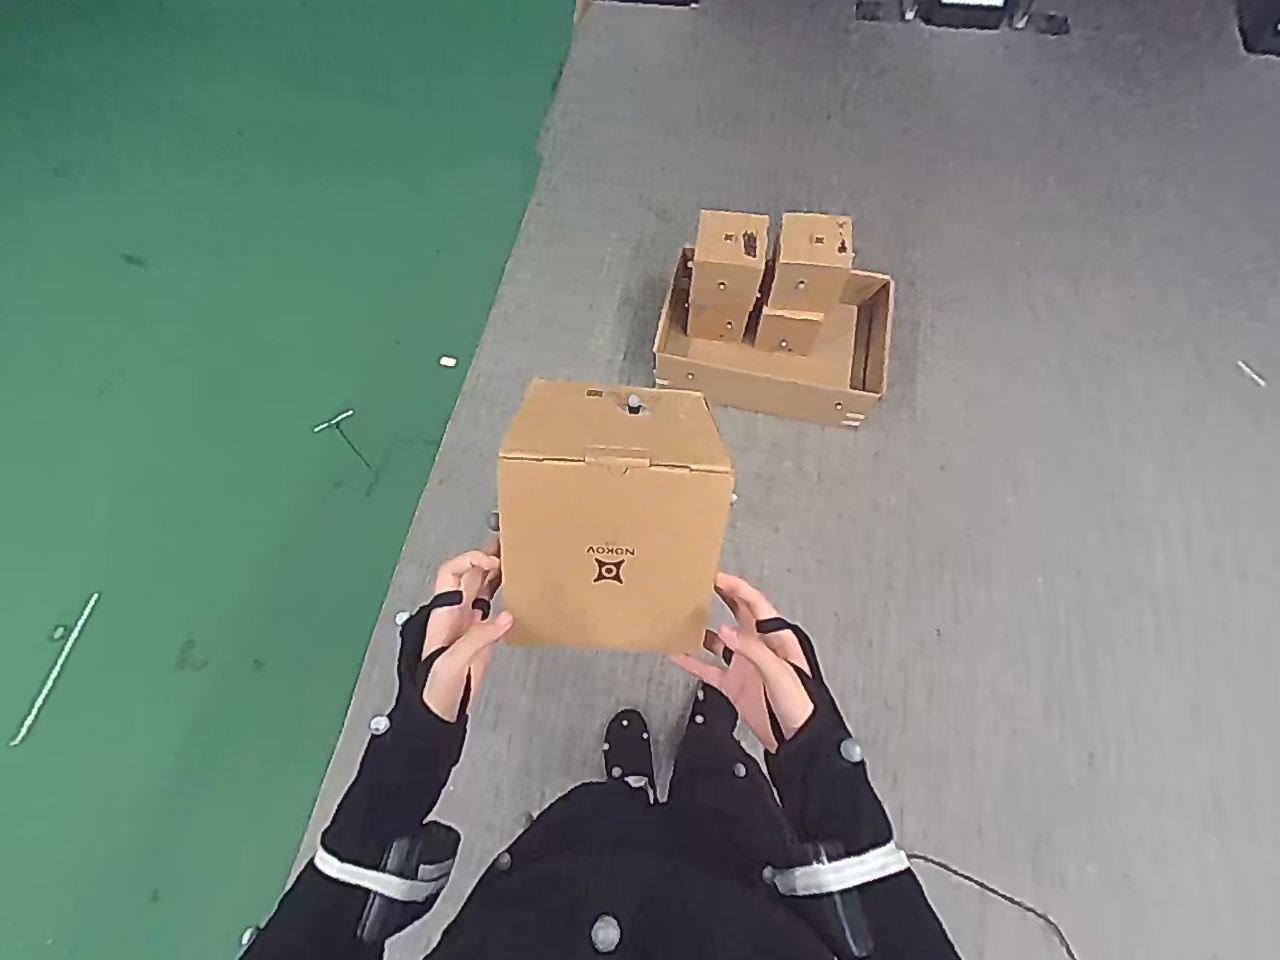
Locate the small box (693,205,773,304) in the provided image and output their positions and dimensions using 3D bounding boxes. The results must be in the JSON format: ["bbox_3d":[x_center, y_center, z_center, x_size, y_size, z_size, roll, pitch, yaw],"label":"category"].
[{"bbox_3d":[0.236,-0.578,1.404,0.179,0.176,0.168,7,72,6],"label":"small box"}]

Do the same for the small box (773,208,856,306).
[{"bbox_3d":[0.442,-0.568,1.390,0.179,0.176,0.168,6,70,7],"label":"small box"}]

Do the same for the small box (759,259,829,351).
[{"bbox_3d":[0.440,-0.497,1.539,0.168,0.176,0.179,11,72,9],"label":"small box"}]

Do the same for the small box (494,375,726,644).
[{"bbox_3d":[-0.027,0.020,0.484,0.168,0.179,0.176,3,27,-3],"label":"small box"}]
